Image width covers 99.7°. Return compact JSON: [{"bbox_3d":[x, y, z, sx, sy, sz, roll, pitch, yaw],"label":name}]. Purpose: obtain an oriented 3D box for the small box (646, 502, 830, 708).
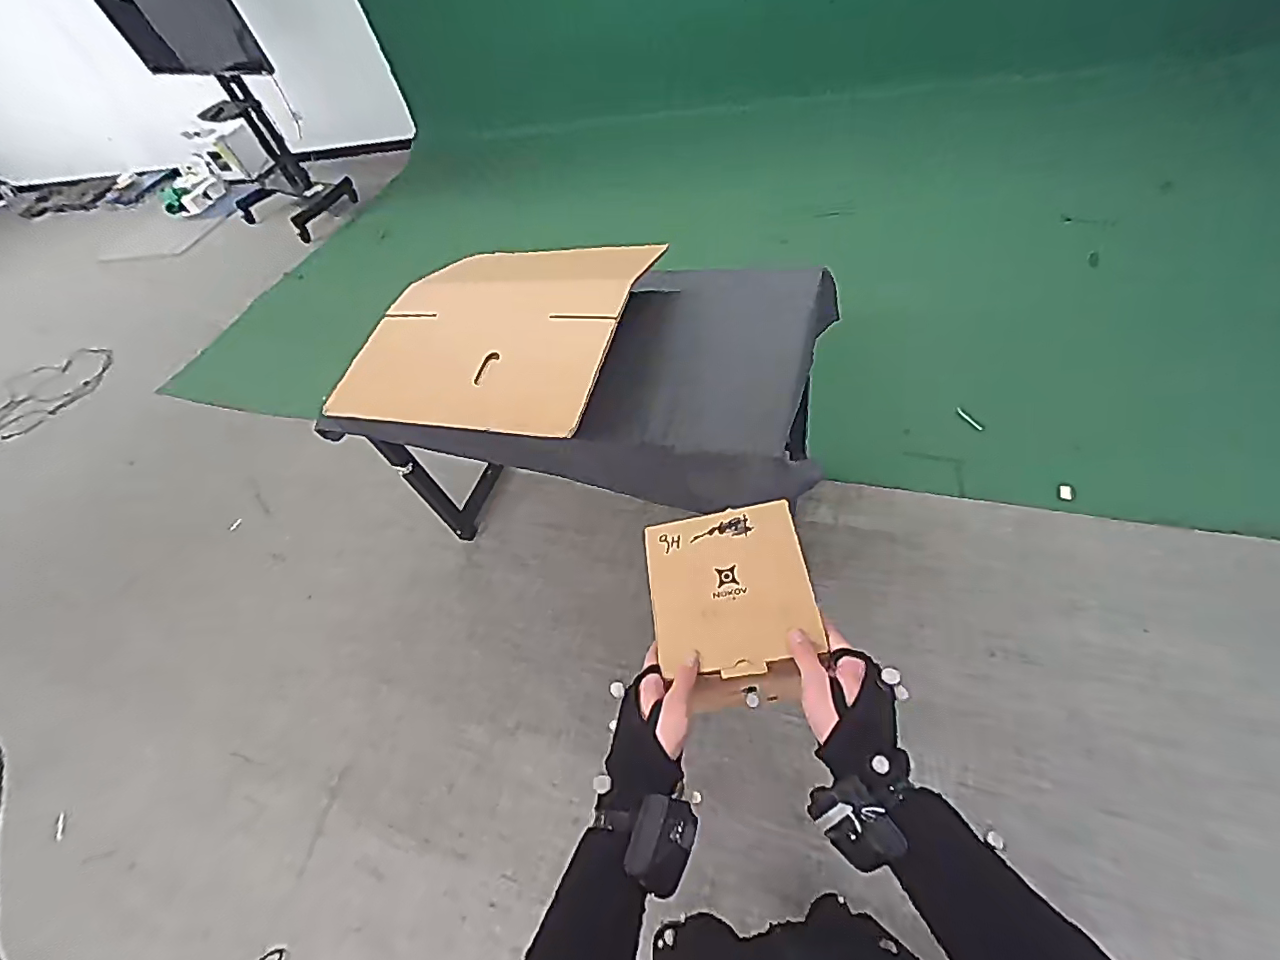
[{"bbox_3d":[0.116,0.157,0.636,0.168,0.176,0.179,-15,53,8],"label":"small box"}]
